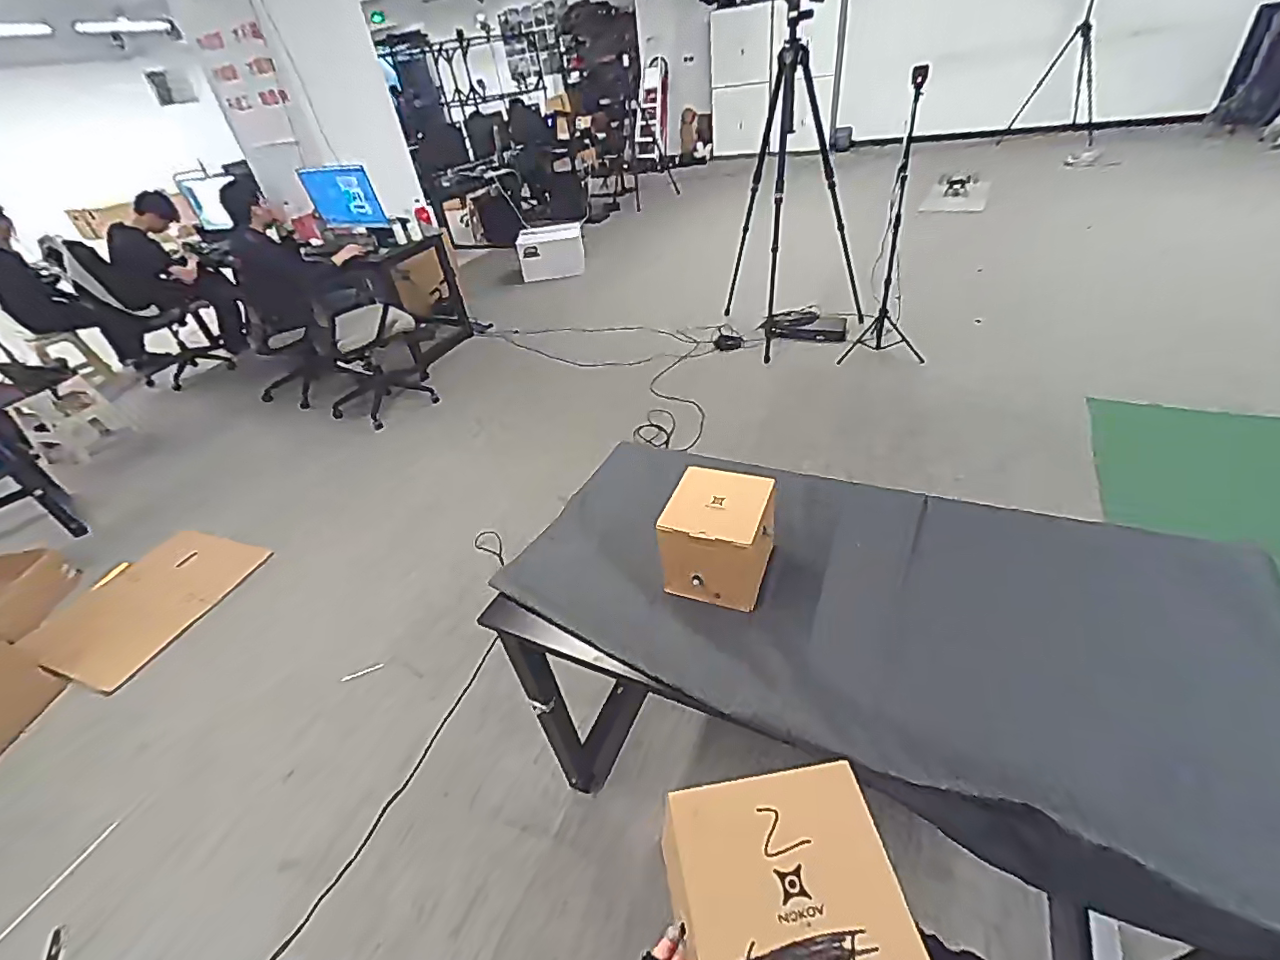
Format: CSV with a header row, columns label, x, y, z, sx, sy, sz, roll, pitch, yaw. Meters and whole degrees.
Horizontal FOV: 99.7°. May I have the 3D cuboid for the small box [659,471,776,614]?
label,x,y,z,sx,sy,sz,roll,pitch,yaw
small box,0.146,0.111,0.993,0.168,0.176,0.179,10,42,22
